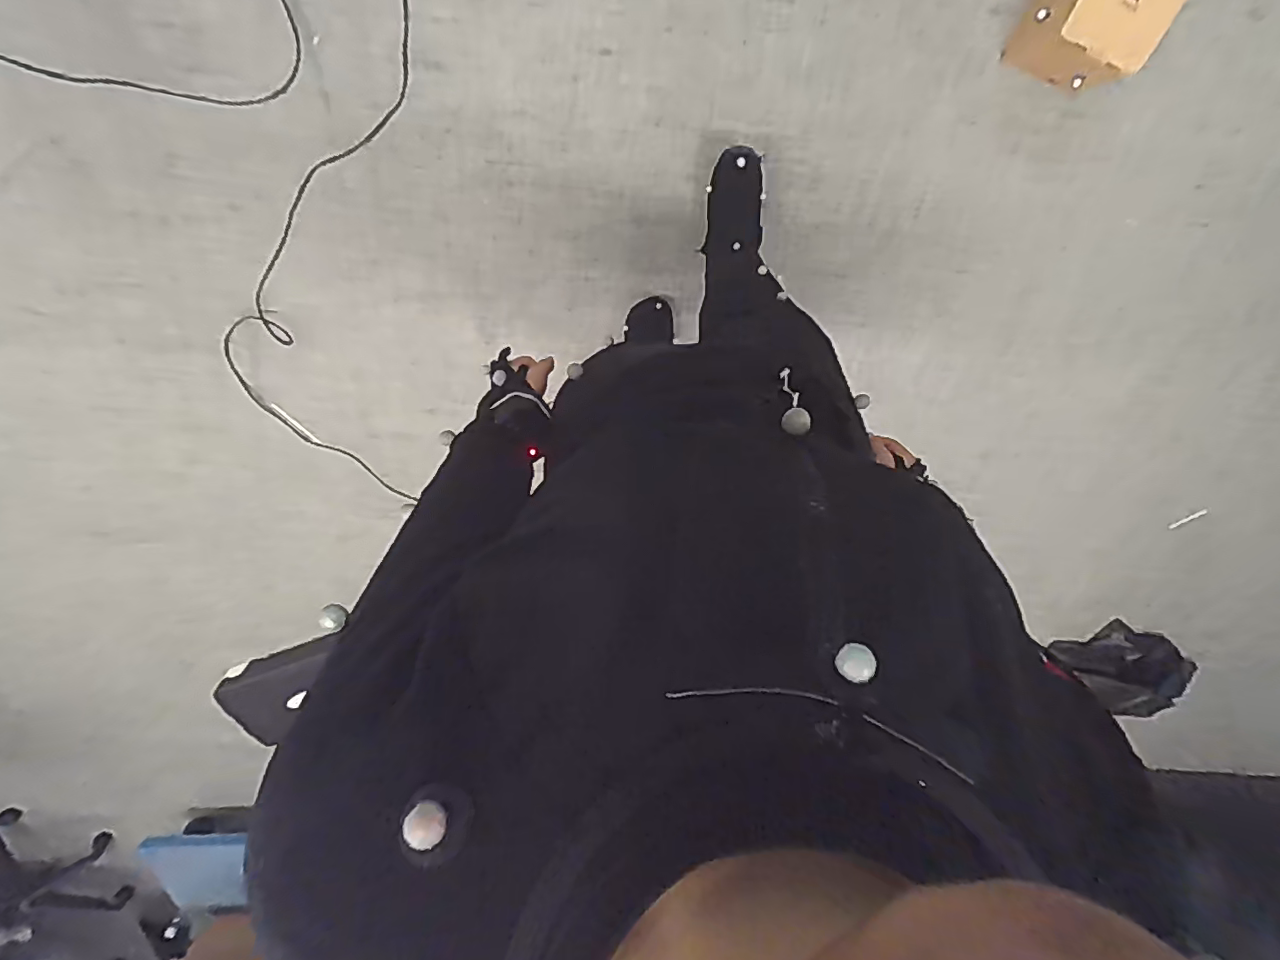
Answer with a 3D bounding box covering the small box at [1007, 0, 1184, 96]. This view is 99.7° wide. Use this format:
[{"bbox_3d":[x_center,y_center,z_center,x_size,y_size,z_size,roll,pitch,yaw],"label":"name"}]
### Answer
[{"bbox_3d":[0.797,-0.816,0.952,0.168,0.176,0.179,19,114,-10],"label":"small box"}]
